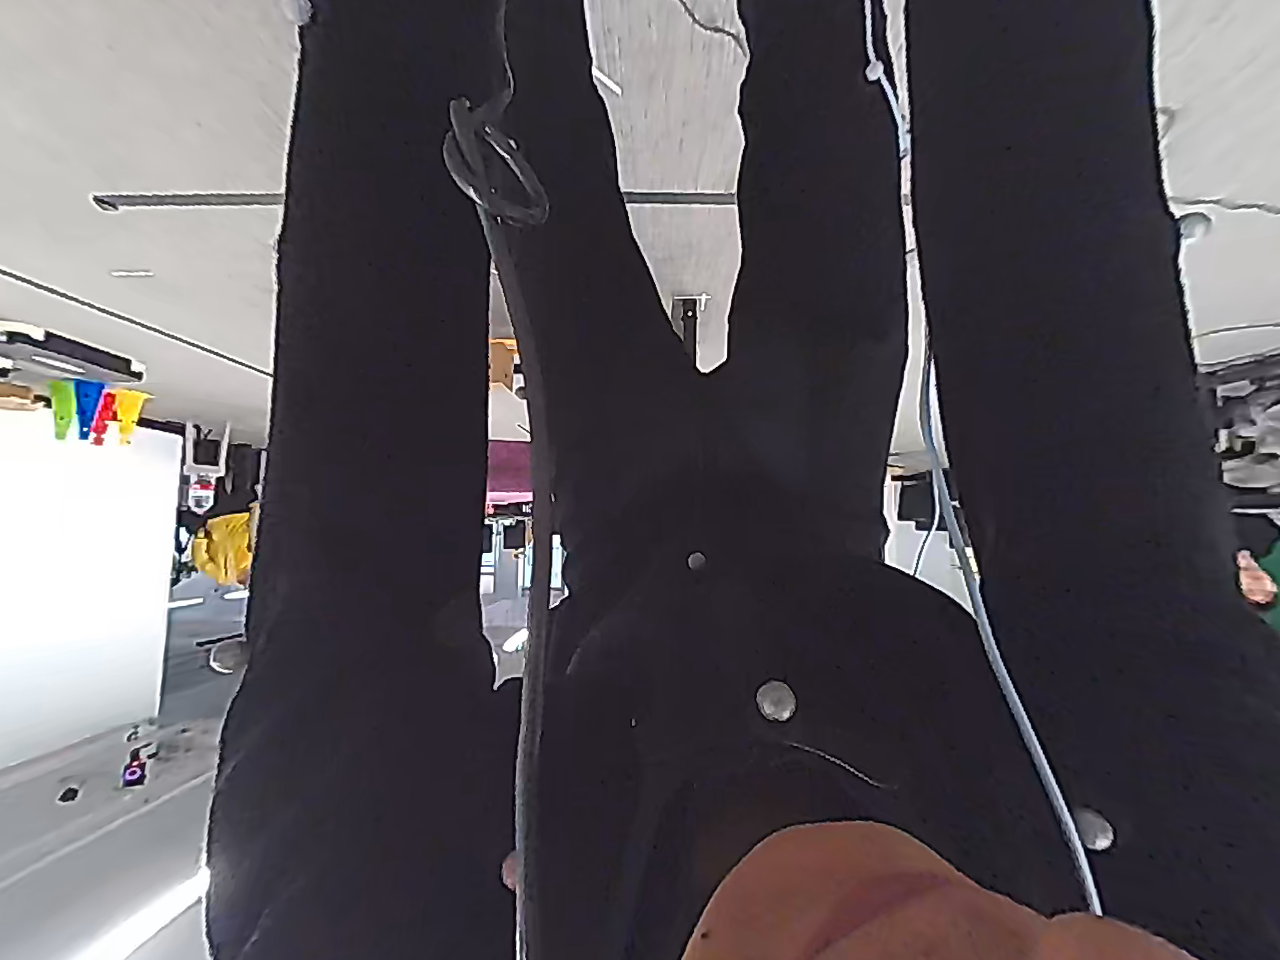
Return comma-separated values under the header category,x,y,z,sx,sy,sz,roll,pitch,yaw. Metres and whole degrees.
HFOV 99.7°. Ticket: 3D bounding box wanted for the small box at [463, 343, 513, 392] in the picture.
category,x,y,z,sx,sy,sz,roll,pitch,yaw
small box,-0.638,-0.472,2.280,0.168,0.176,0.179,1,176,1
